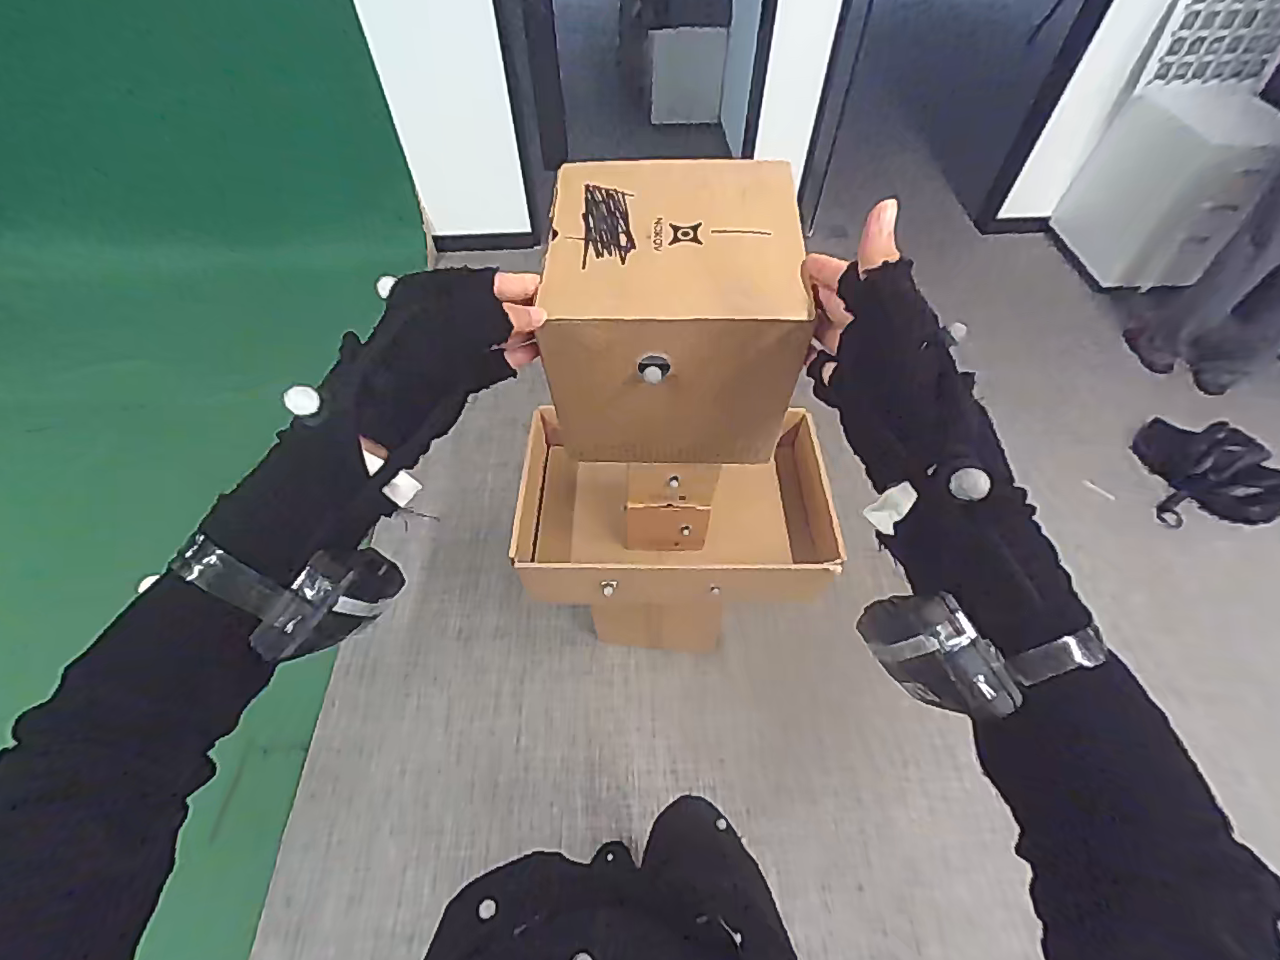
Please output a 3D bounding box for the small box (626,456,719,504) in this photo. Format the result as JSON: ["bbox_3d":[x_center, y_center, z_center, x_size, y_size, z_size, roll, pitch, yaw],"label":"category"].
[{"bbox_3d":[0.058,-0.067,1.009,0.168,0.176,0.179,1,54,-2],"label":"small box"}]

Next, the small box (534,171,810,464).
[{"bbox_3d":[0.025,-0.124,0.444,0.179,0.176,0.168,1,60,2],"label":"small box"}]

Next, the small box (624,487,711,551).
[{"bbox_3d":[0.052,0.037,1.135,0.168,0.176,0.179,1,52,-2],"label":"small box"}]
